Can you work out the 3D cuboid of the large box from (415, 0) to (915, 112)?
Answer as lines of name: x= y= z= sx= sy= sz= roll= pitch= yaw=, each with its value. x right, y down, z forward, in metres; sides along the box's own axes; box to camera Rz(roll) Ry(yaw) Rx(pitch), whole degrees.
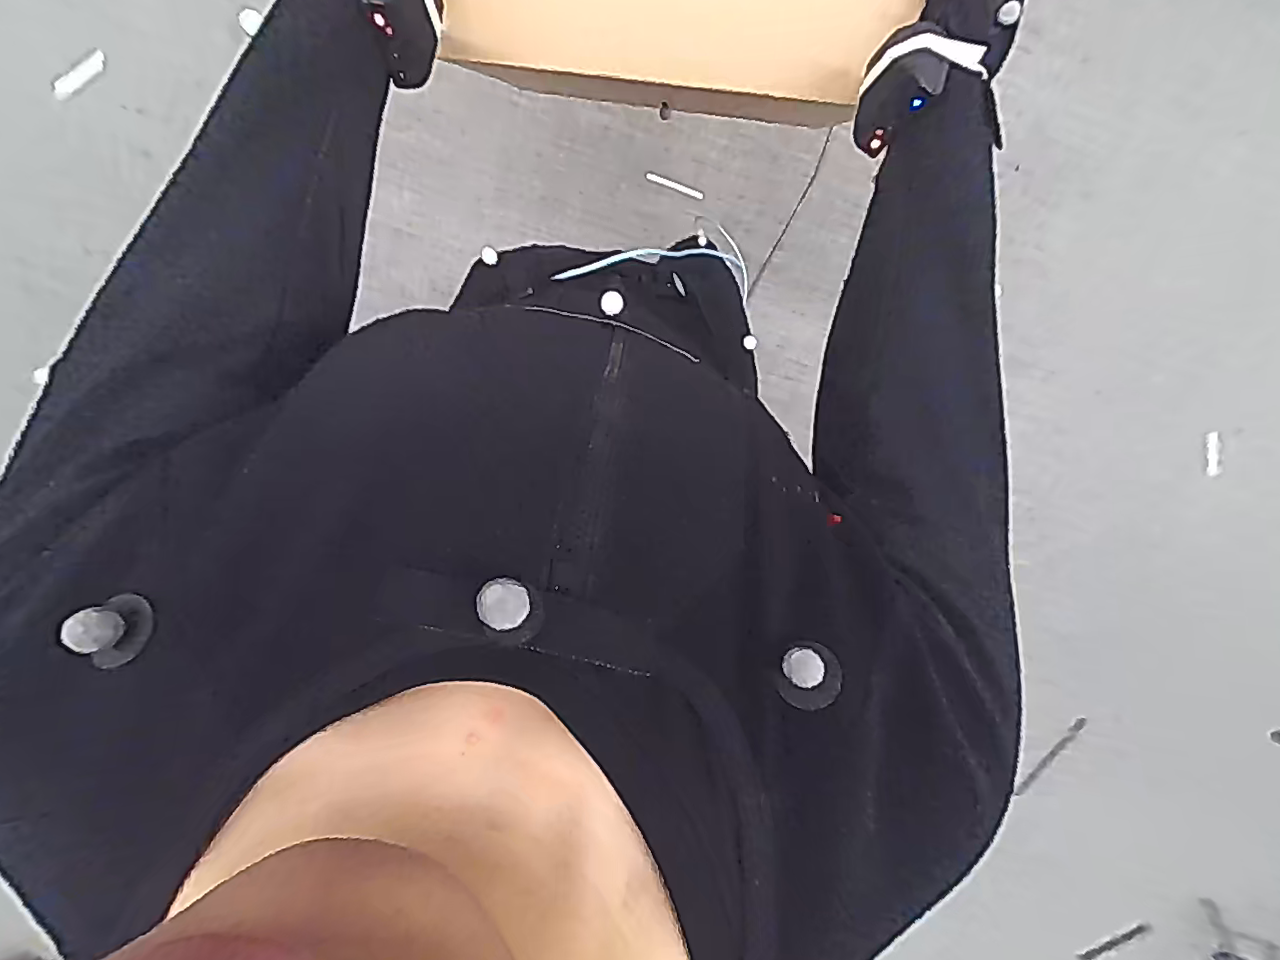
large box: x=0.039 y=-0.547 z=0.498 sx=0.408 sy=0.320 sz=0.320 roll=8 pitch=121 yaw=2
